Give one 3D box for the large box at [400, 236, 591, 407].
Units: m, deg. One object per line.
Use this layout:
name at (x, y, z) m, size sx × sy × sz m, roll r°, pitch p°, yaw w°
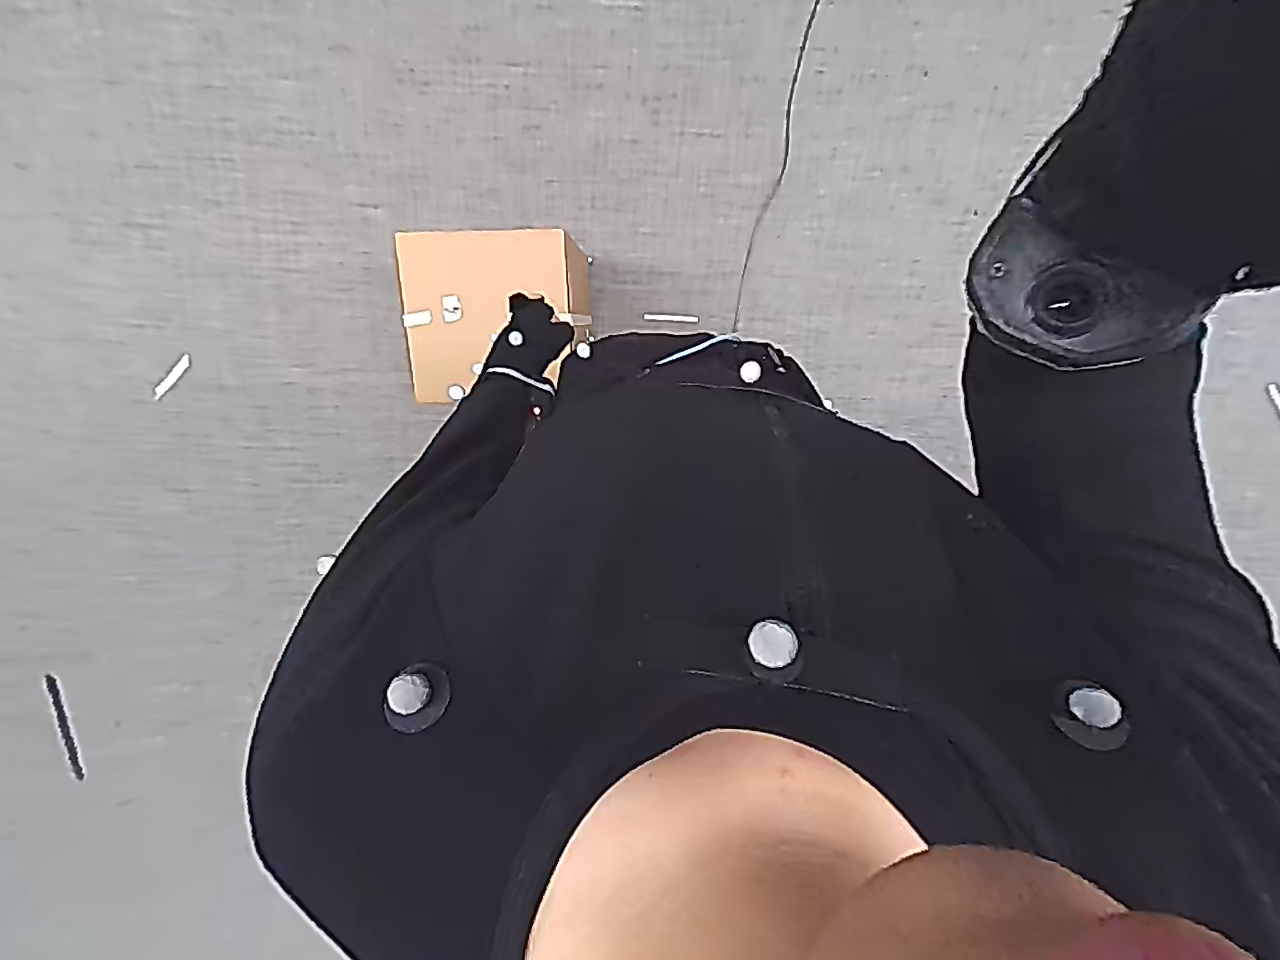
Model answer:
large box at (-0.287, -0.352, 1.211) m, size 0.320 × 0.408 × 0.320 m, roll 0°, pitch 107°, yaw 0°
